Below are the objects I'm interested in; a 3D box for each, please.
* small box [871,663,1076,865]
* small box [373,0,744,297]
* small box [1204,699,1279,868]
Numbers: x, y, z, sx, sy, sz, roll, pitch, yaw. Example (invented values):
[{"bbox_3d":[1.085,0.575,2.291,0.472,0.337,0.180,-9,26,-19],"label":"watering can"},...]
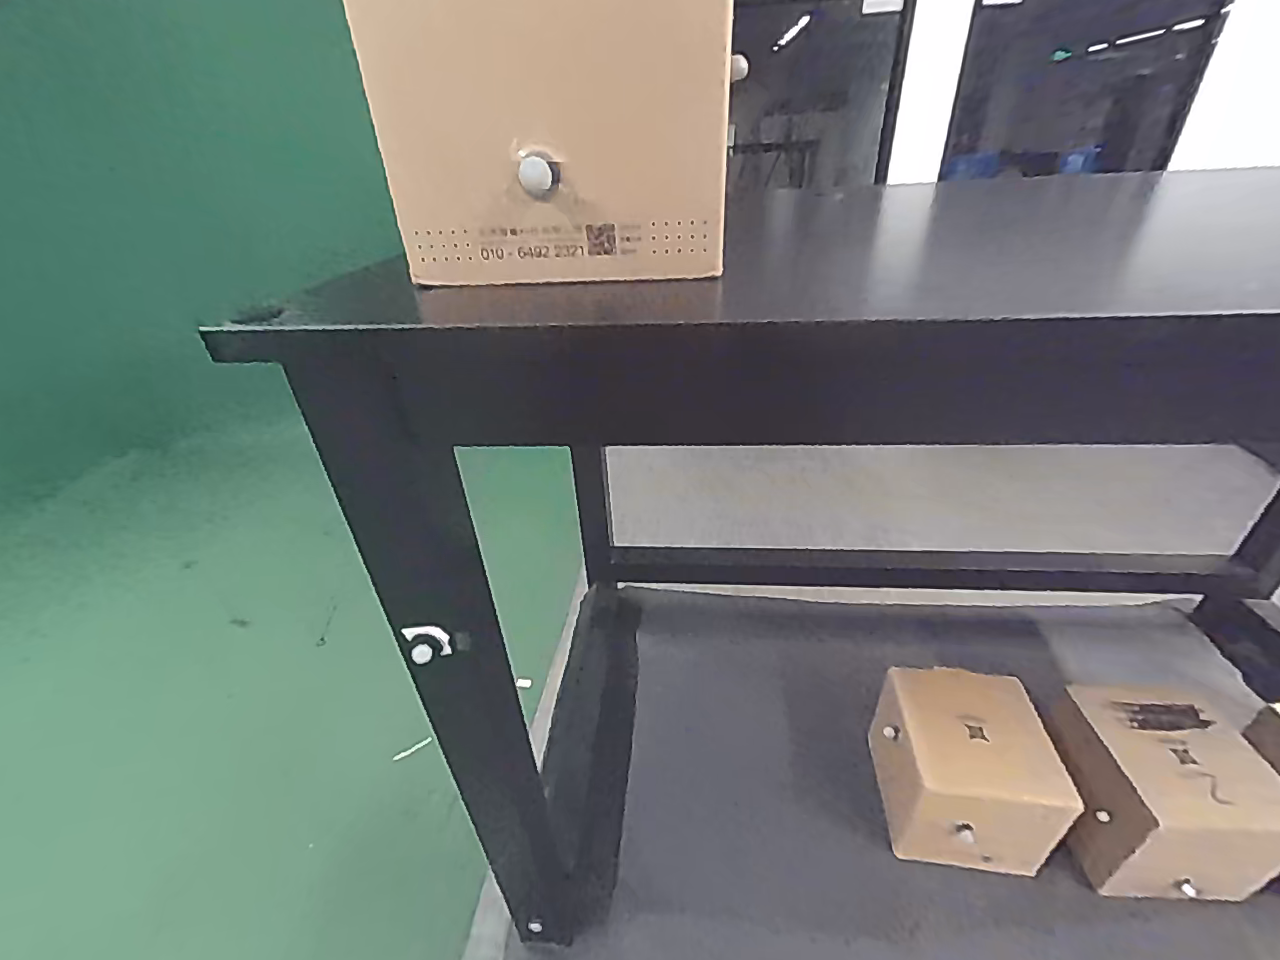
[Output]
[{"bbox_3d":[0.420,0.374,0.718,0.168,0.176,0.179,2,32,9],"label":"small box"},{"bbox_3d":[-0.033,-0.213,0.315,0.168,0.176,0.179,0,33,4],"label":"small box"},{"bbox_3d":[0.862,0.390,0.645,0.168,0.176,0.179,0,32,4],"label":"small box"}]
